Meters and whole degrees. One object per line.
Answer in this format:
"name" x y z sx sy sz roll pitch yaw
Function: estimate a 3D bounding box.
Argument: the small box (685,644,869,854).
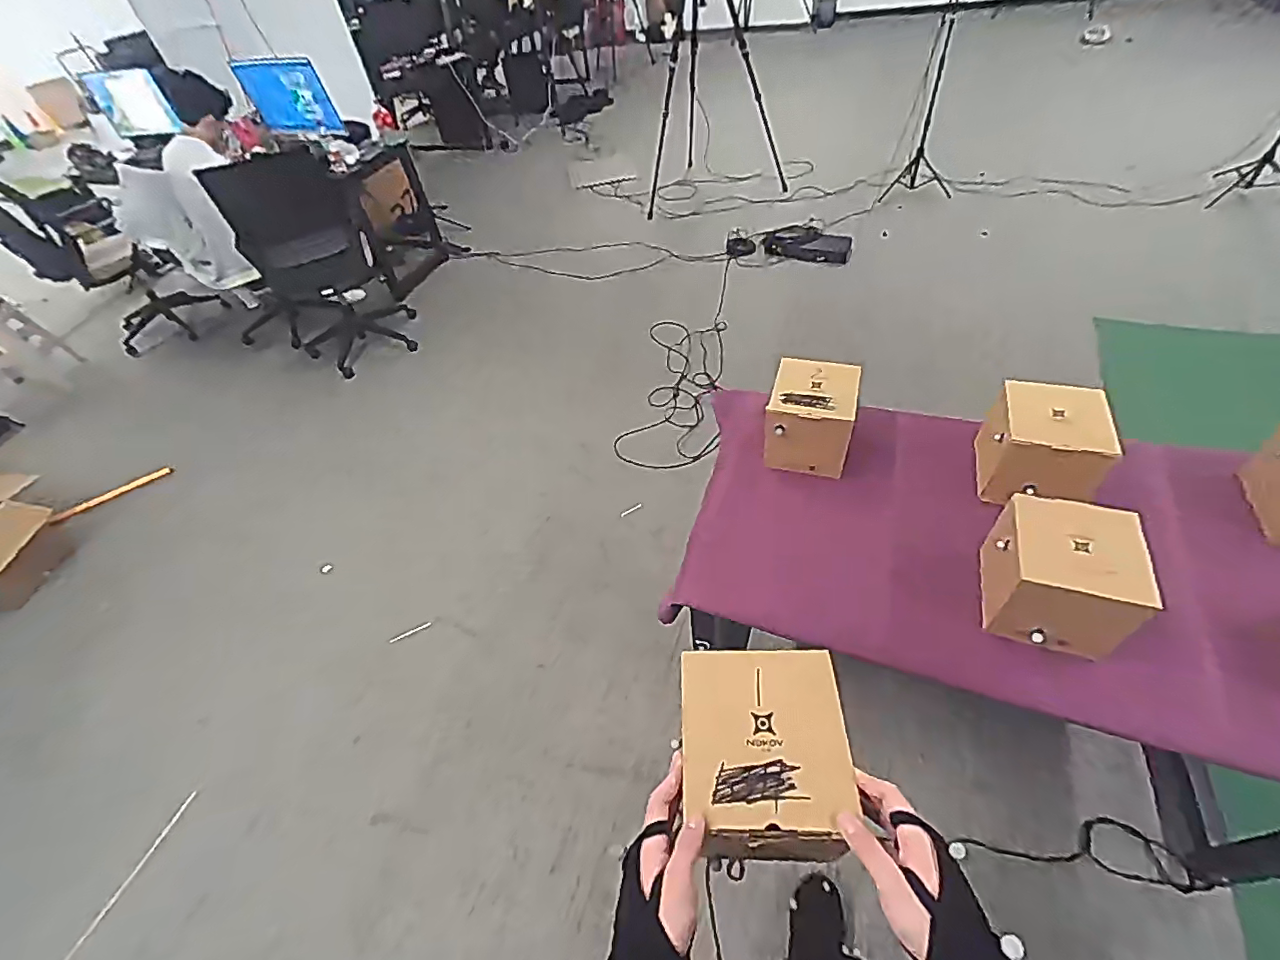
"small box" 0.136 0.299 0.600 0.168 0.176 0.179 -2 48 5

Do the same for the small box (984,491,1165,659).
"small box" 0.662 0.148 0.852 0.168 0.176 0.179 12 50 19

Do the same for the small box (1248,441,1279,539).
"small box" 1.184 0.006 0.896 0.168 0.176 0.179 9 51 20

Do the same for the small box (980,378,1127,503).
"small box" 0.769 -0.066 1.030 0.168 0.176 0.179 11 52 17
